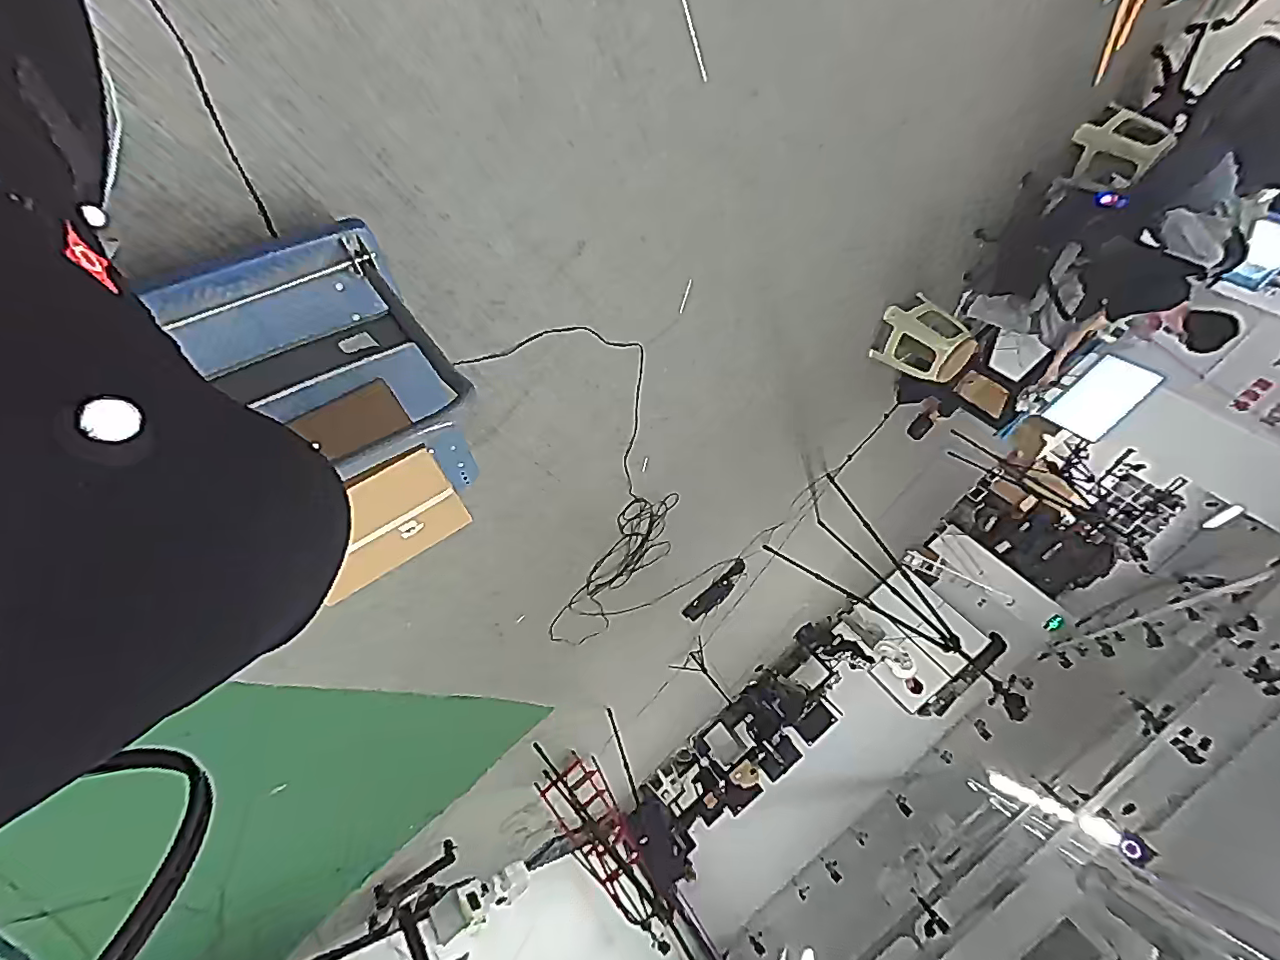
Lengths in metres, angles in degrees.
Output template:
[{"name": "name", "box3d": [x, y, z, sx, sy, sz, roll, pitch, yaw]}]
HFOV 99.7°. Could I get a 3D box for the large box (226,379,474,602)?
[{"name": "large box", "box3d": [-0.708, 0.022, 1.356, 0.408, 0.320, 0.320, -34, 148, -16]}]
